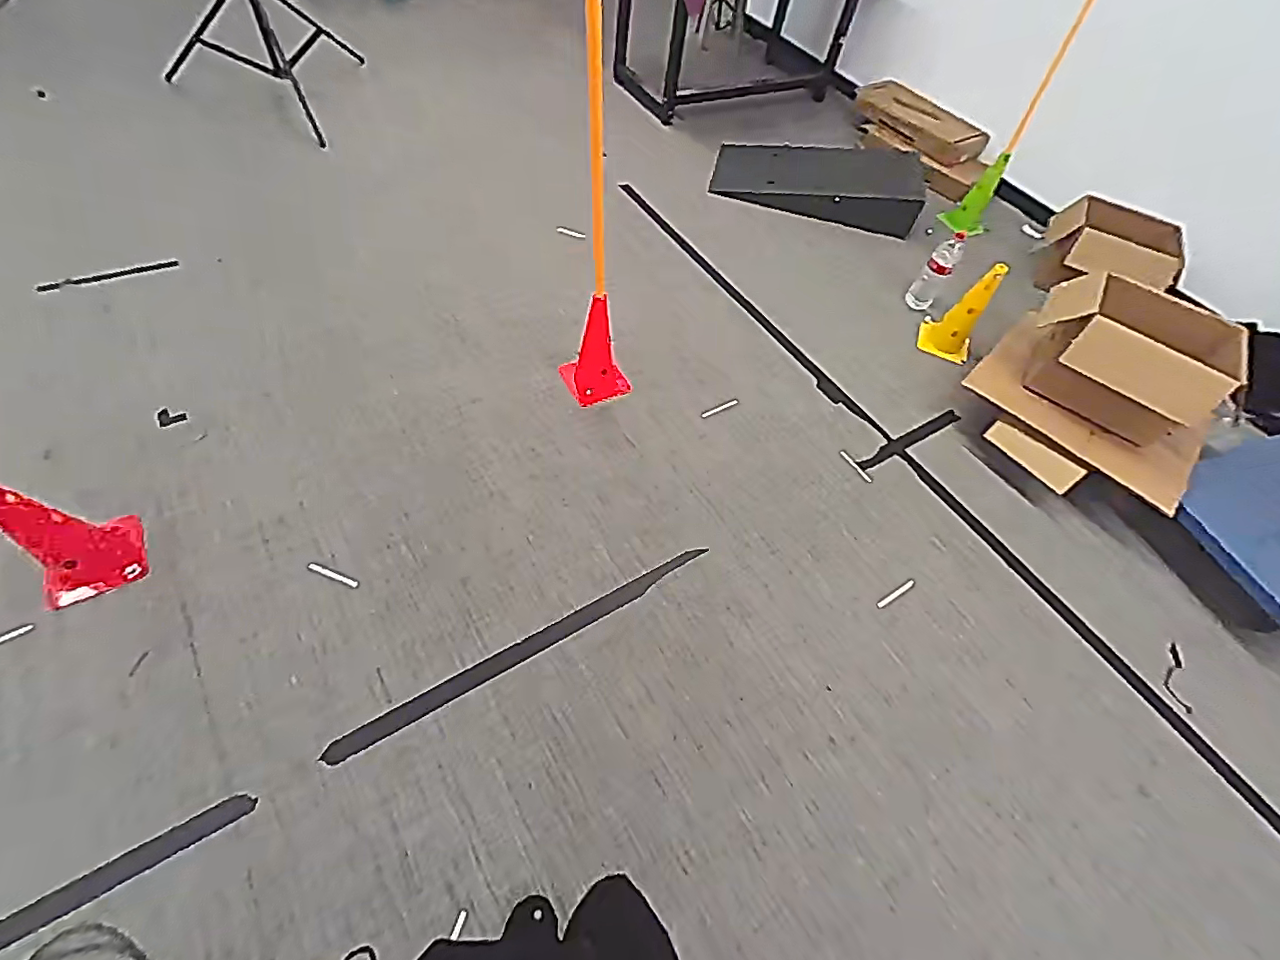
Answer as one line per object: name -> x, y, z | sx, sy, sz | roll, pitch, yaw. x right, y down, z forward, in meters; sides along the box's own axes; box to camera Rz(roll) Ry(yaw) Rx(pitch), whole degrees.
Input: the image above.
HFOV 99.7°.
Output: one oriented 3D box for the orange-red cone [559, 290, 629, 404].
orange-red cone -> -0.137, -0.445, 1.712 | 0.199, 0.360, 0.198 | -22, 63, -21
